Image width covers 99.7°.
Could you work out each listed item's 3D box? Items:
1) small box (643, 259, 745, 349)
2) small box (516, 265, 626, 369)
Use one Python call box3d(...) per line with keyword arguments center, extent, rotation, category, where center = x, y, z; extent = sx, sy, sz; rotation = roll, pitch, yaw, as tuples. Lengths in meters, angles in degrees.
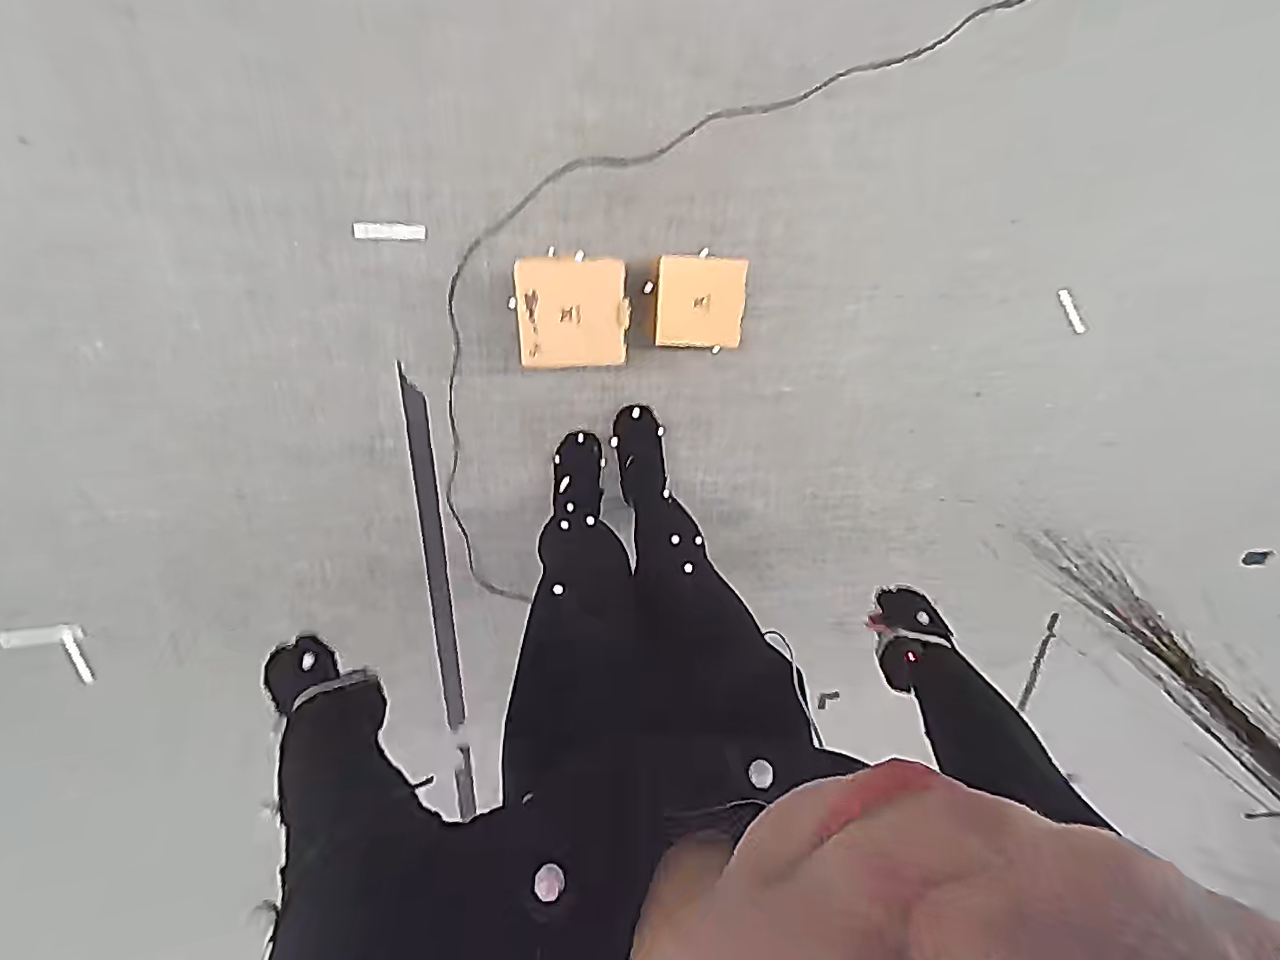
box3d(center=(0.105, -0.372, 1.143), extent=(0.179, 0.176, 0.168), rotation=(-1, 110, -9), category="small box")
box3d(center=(-0.122, -0.293, 0.960), extent=(0.179, 0.176, 0.168), rotation=(-3, 110, -7), category="small box")
